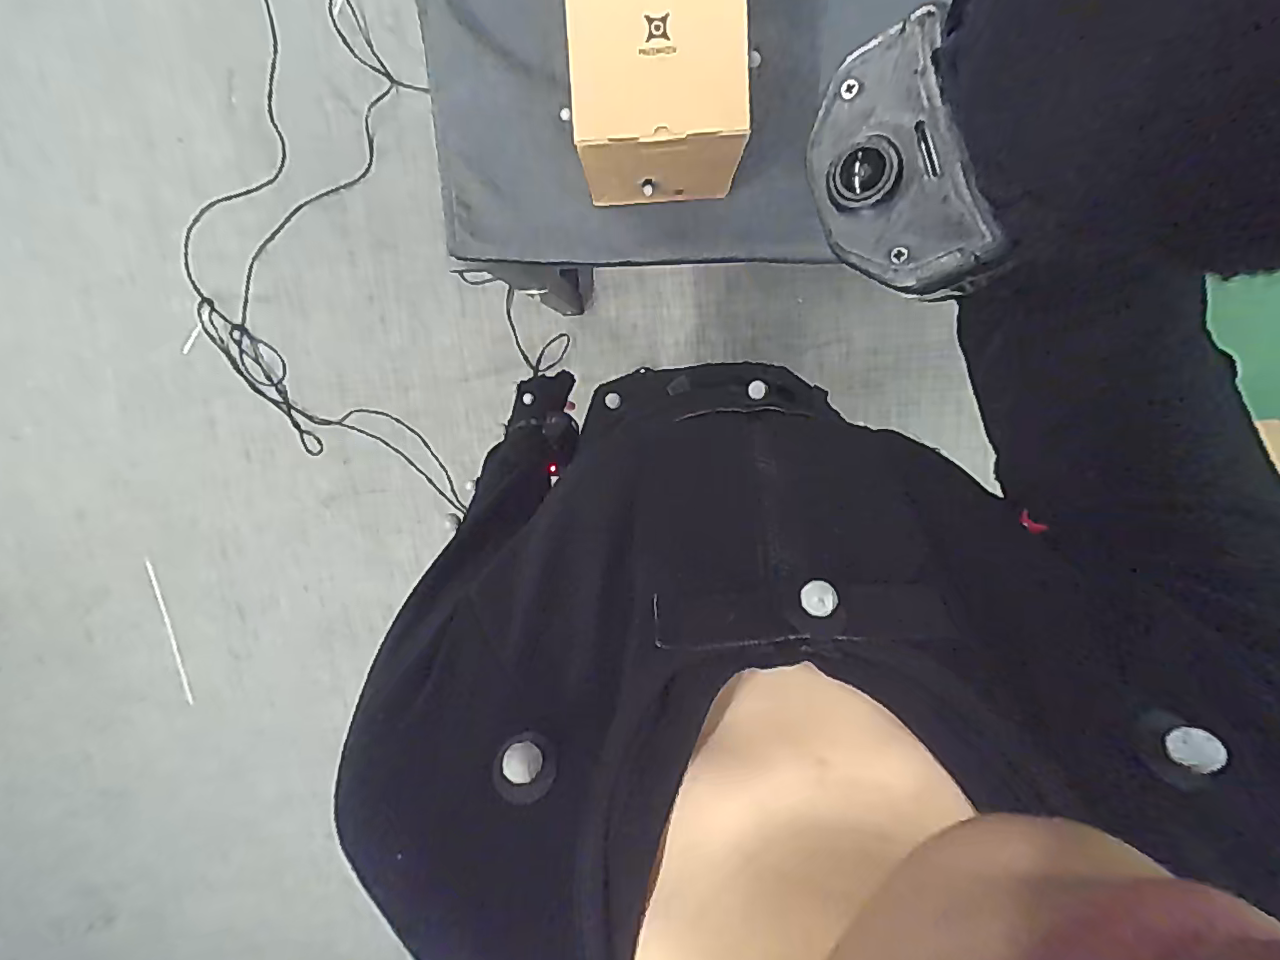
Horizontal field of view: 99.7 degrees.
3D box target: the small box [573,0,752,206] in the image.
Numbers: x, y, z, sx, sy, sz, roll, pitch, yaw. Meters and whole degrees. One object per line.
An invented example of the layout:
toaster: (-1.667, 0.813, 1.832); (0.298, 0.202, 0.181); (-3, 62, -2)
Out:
small box: (0.021, -0.417, 0.576); (0.168, 0.176, 0.179); (-3, 99, 2)
